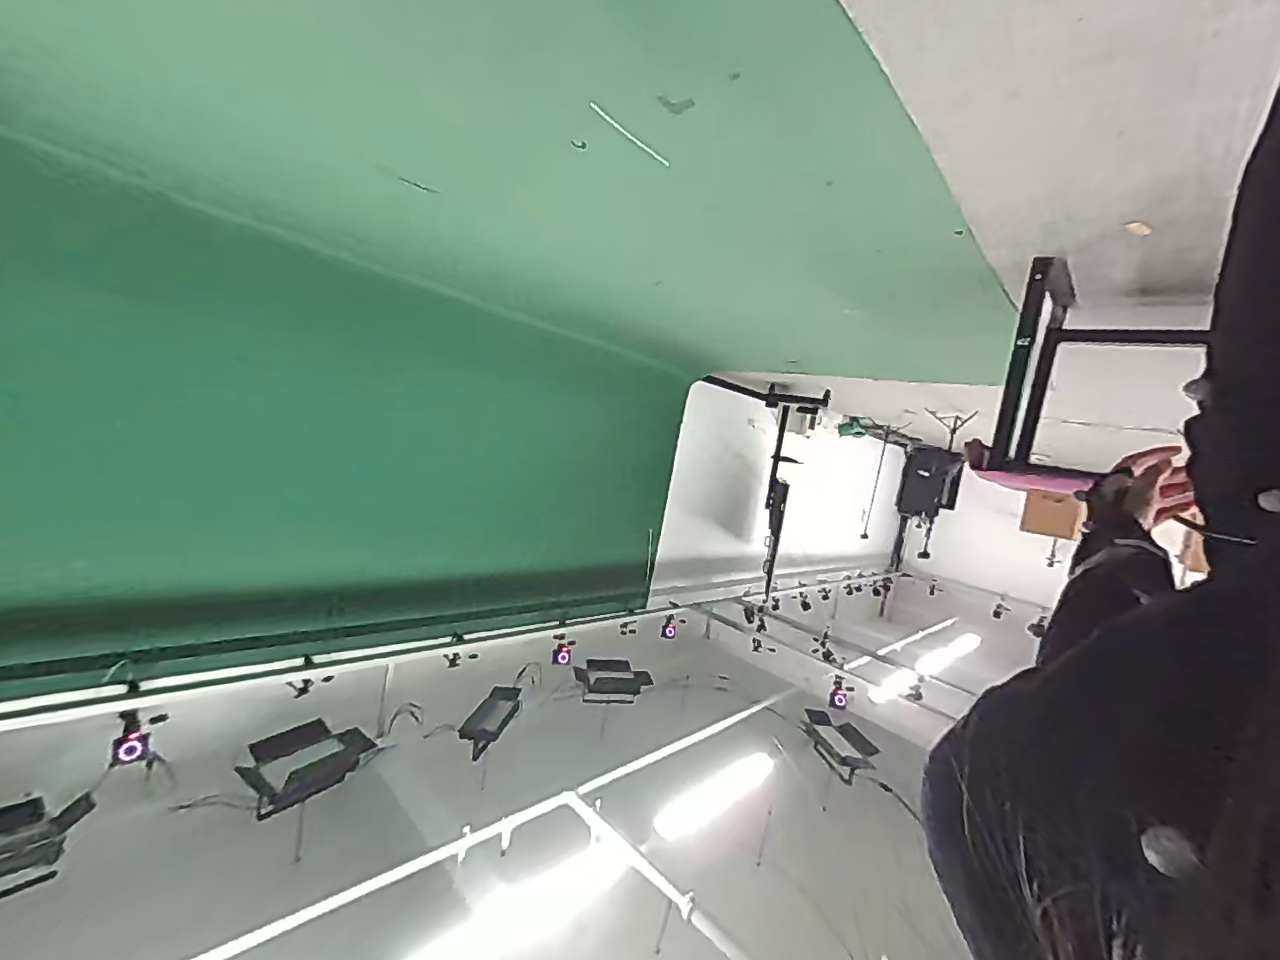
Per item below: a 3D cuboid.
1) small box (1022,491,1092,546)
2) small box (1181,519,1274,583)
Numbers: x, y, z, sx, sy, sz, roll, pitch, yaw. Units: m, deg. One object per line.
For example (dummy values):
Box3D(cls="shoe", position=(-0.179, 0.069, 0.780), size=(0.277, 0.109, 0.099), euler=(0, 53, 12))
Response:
Box3D(cls="small box", position=(1.553, 0.142, 2.007), size=(0.179, 0.176, 0.168), euler=(9, -178, -43))
Box3D(cls="small box", position=(1.879, 0.222, 1.733), size=(0.179, 0.176, 0.168), euler=(13, -177, 42))
